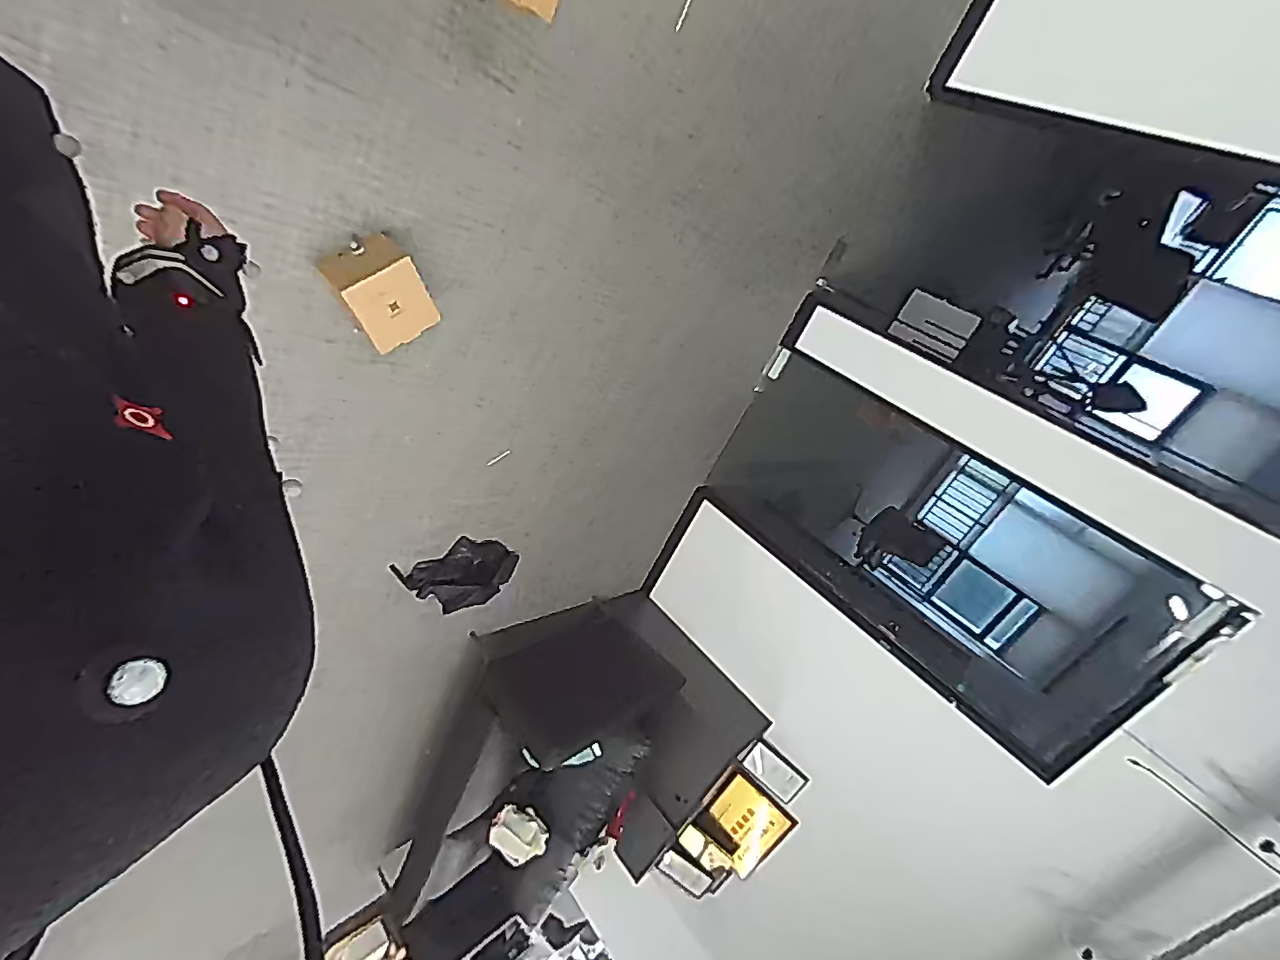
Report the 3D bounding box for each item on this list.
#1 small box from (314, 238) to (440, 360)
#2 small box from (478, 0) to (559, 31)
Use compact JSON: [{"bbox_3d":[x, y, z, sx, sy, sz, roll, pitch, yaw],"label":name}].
[{"bbox_3d":[-0.600,-0.417,1.240,0.168,0.176,0.179,-40,149,-18],"label":"small box"},{"bbox_3d":[-0.251,-1.000,1.014,0.168,0.176,0.179,-8,132,-49],"label":"small box"}]
